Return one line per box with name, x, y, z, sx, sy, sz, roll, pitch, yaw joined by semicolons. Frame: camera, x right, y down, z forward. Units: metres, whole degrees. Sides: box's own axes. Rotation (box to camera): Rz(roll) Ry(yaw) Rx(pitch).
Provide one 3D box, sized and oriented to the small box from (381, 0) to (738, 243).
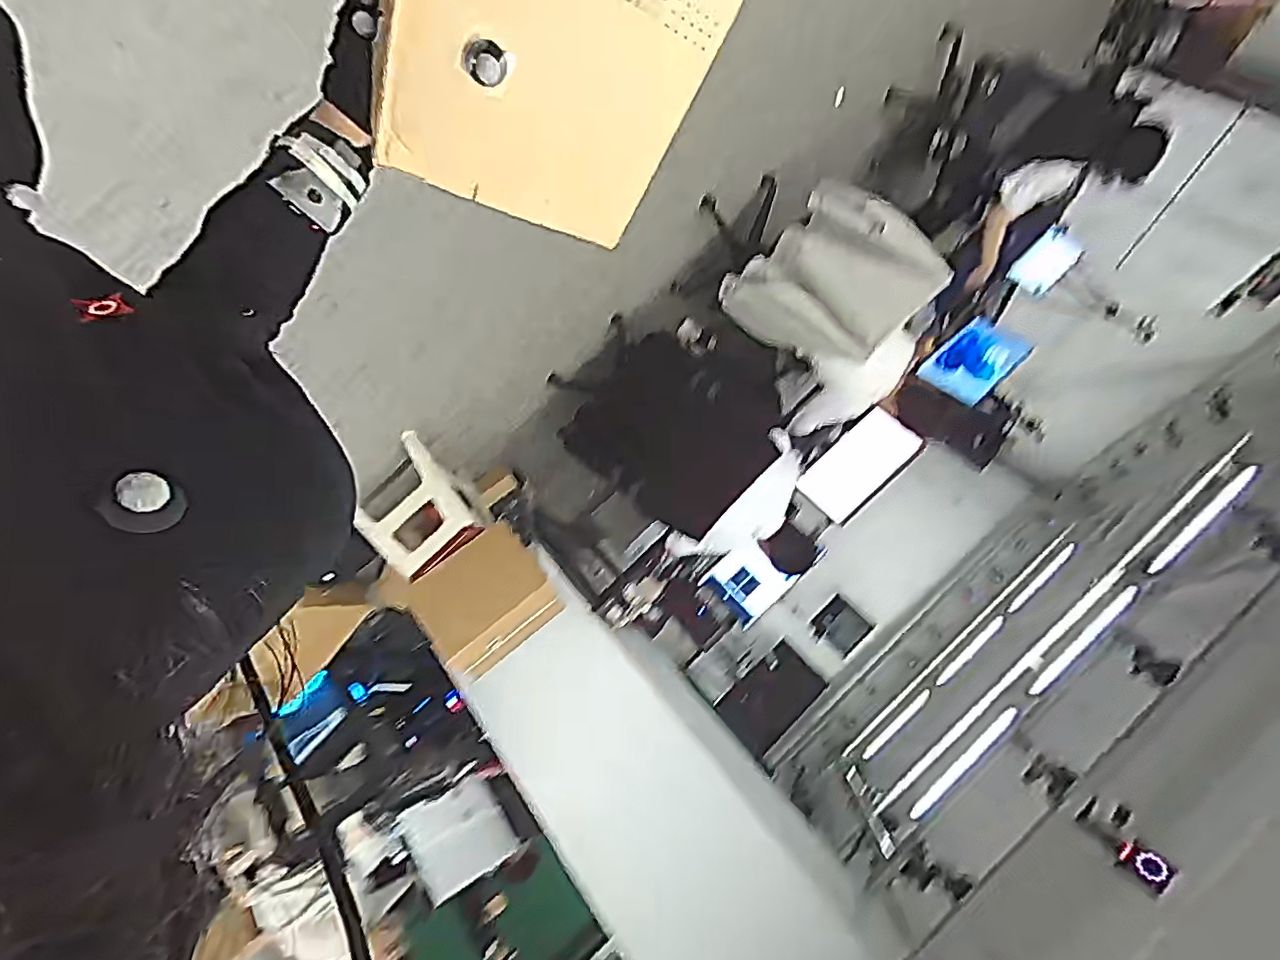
small box;-0.060;-0.293;0.338;0.168;0.179;0.176;6;143;-33
